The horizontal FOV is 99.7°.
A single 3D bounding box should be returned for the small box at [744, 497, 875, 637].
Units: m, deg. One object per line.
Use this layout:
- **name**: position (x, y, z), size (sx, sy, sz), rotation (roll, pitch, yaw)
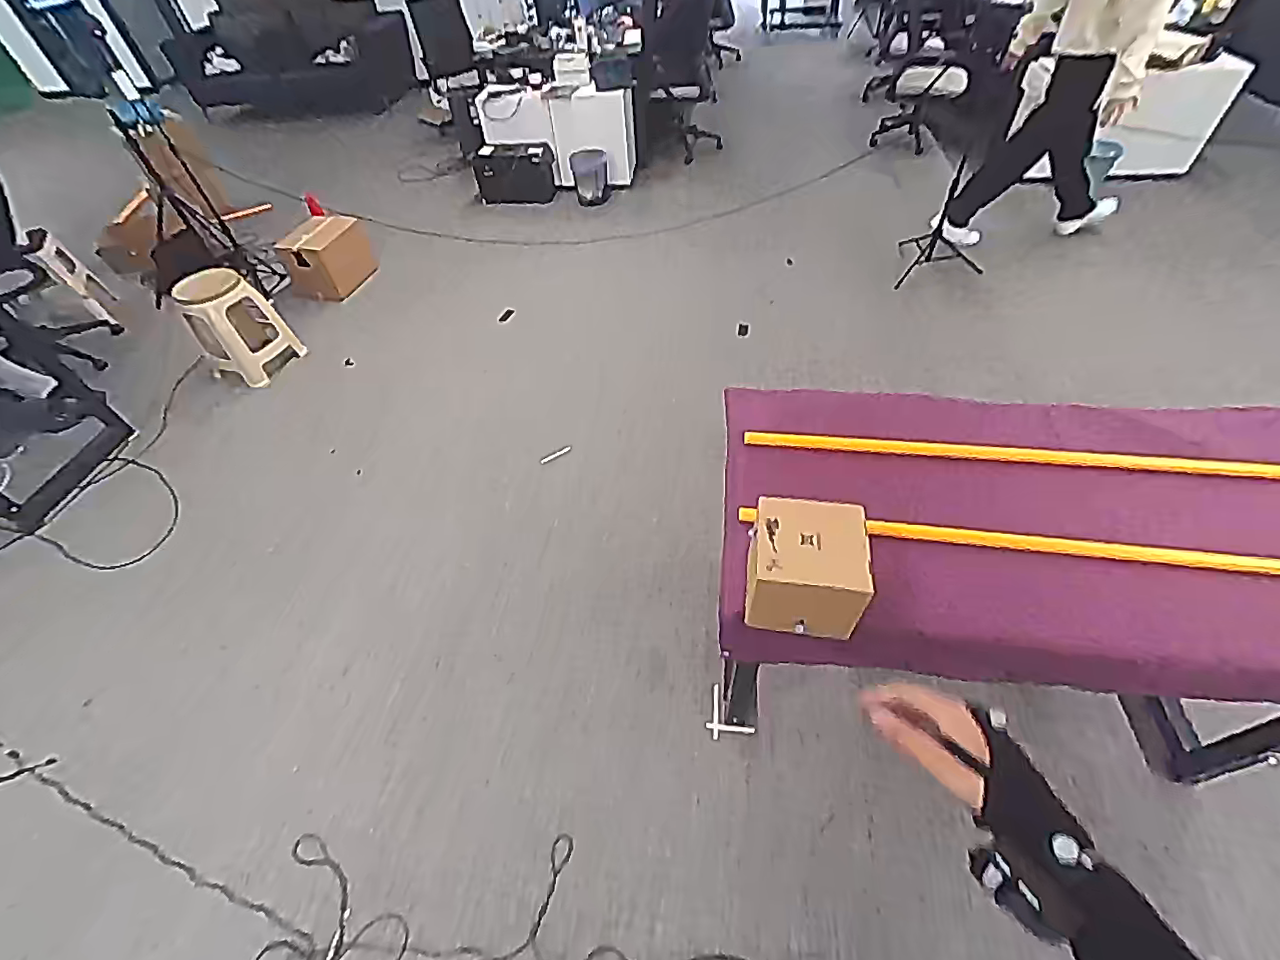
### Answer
- **small box**: position (0.281, 0.153, 0.925), size (0.179, 0.176, 0.168), rotation (6, 50, 8)
